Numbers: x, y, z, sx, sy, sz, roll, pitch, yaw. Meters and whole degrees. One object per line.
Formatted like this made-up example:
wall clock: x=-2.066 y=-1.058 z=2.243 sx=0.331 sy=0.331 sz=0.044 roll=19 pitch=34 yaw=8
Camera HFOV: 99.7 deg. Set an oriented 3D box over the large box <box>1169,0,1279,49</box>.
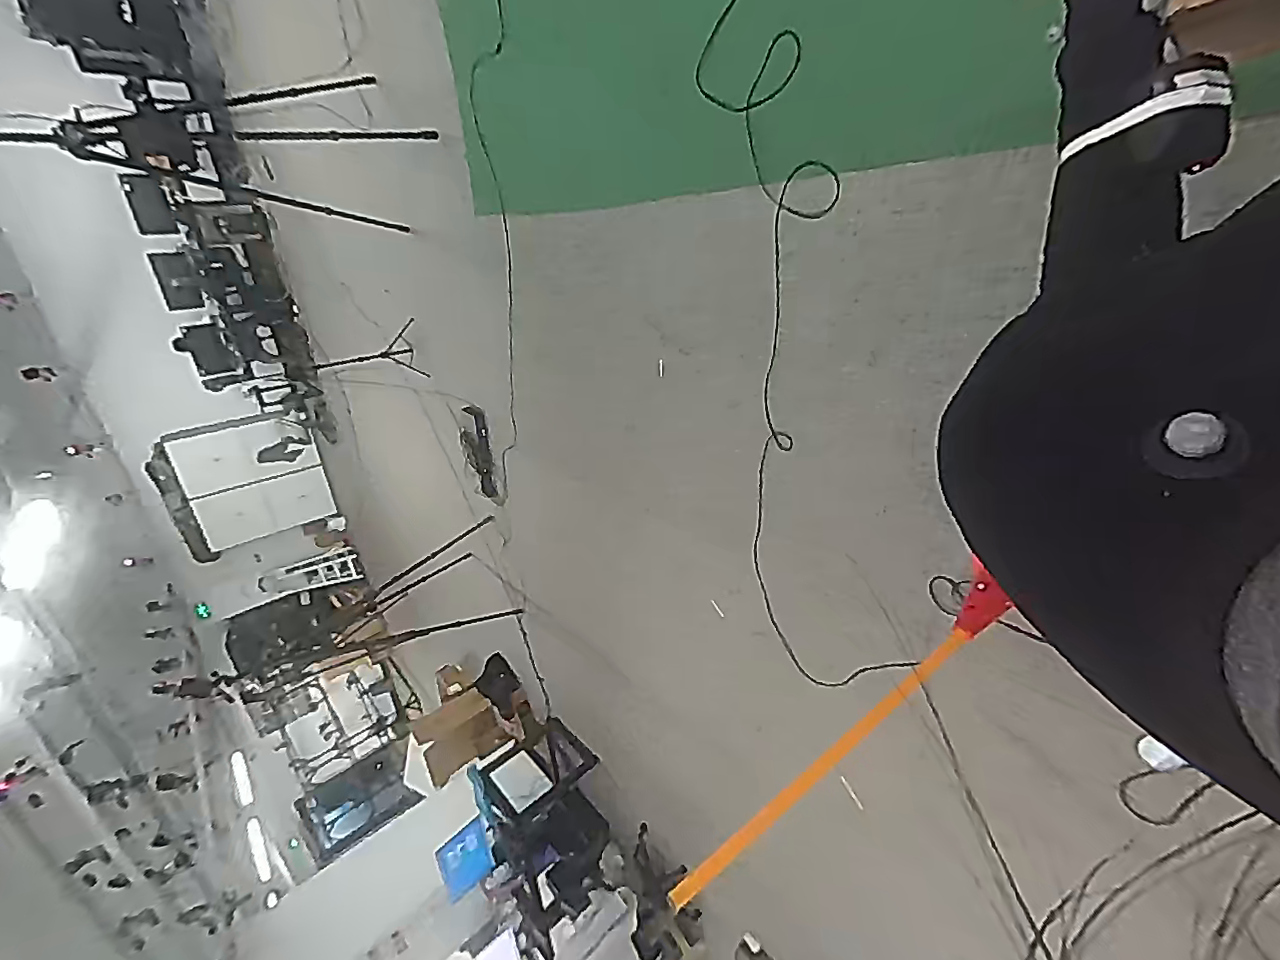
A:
large box: x=0.557 y=-0.488 z=0.254 sx=0.408 sy=0.320 sz=0.320 roll=9 pitch=117 yaw=47
